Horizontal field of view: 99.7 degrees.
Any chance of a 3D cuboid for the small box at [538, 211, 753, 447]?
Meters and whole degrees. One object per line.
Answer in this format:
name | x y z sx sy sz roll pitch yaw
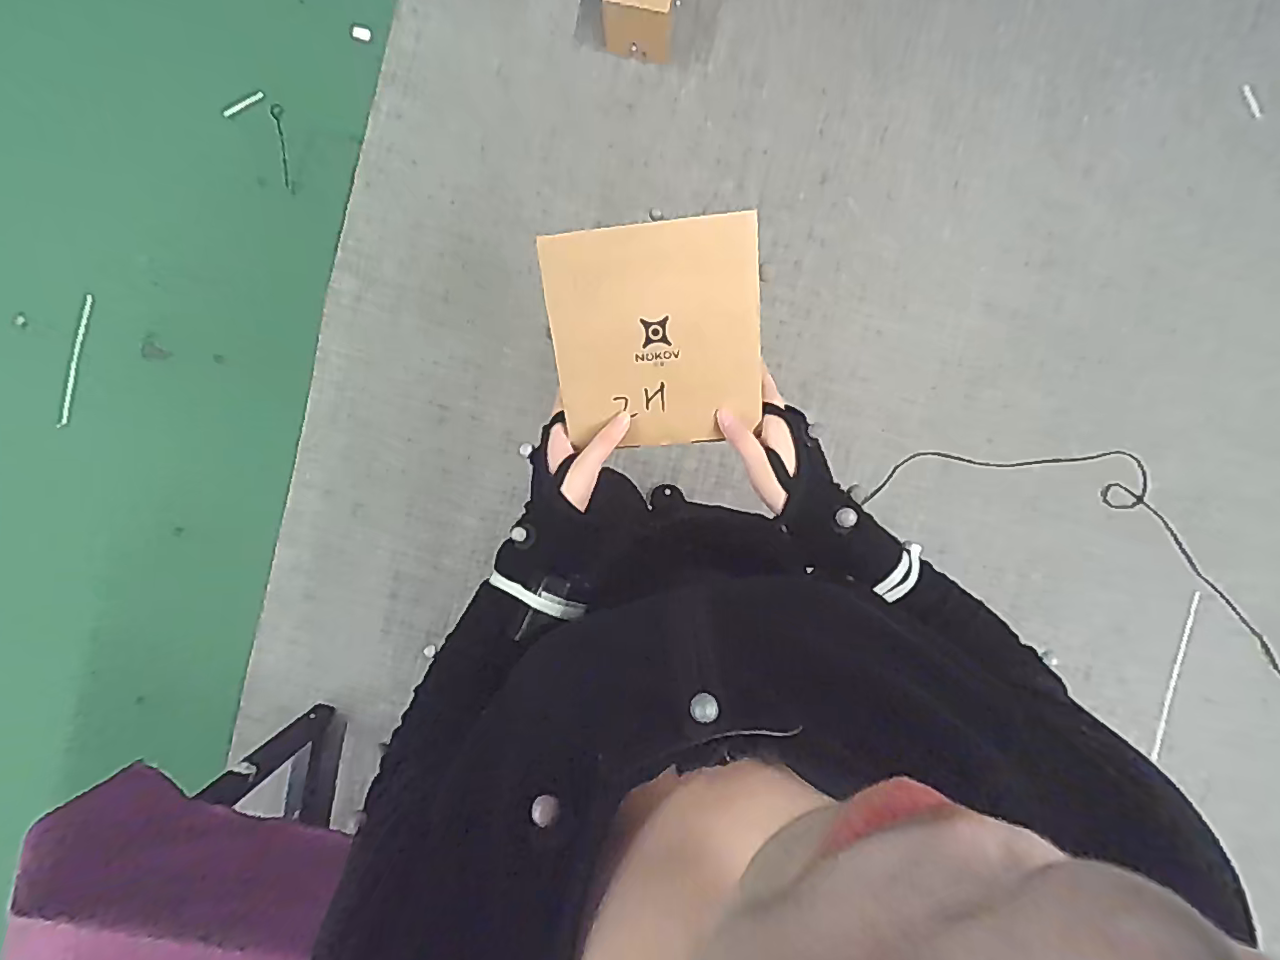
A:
small box | 0.015 -0.143 0.511 0.168 0.176 0.179 -3 112 7
